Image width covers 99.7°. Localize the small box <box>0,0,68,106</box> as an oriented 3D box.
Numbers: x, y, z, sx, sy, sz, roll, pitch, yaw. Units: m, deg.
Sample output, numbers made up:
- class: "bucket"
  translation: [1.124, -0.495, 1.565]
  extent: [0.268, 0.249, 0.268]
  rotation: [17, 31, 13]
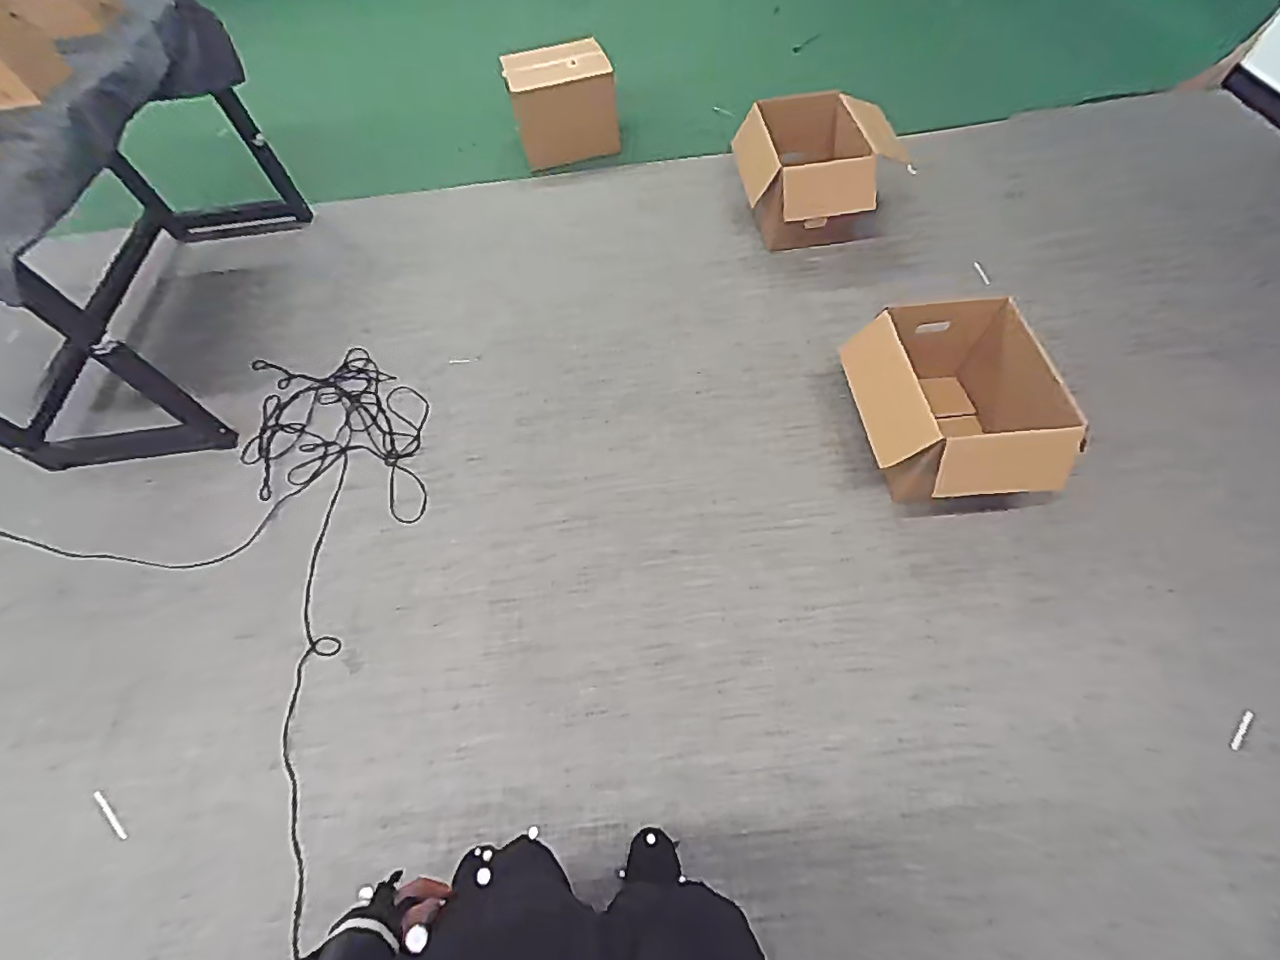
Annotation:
- class: "small box"
  translation: [-1.509, -0.994, 1.253]
  extent: [0.168, 0.176, 0.179]
  rotation: [-7, 59, 0]
